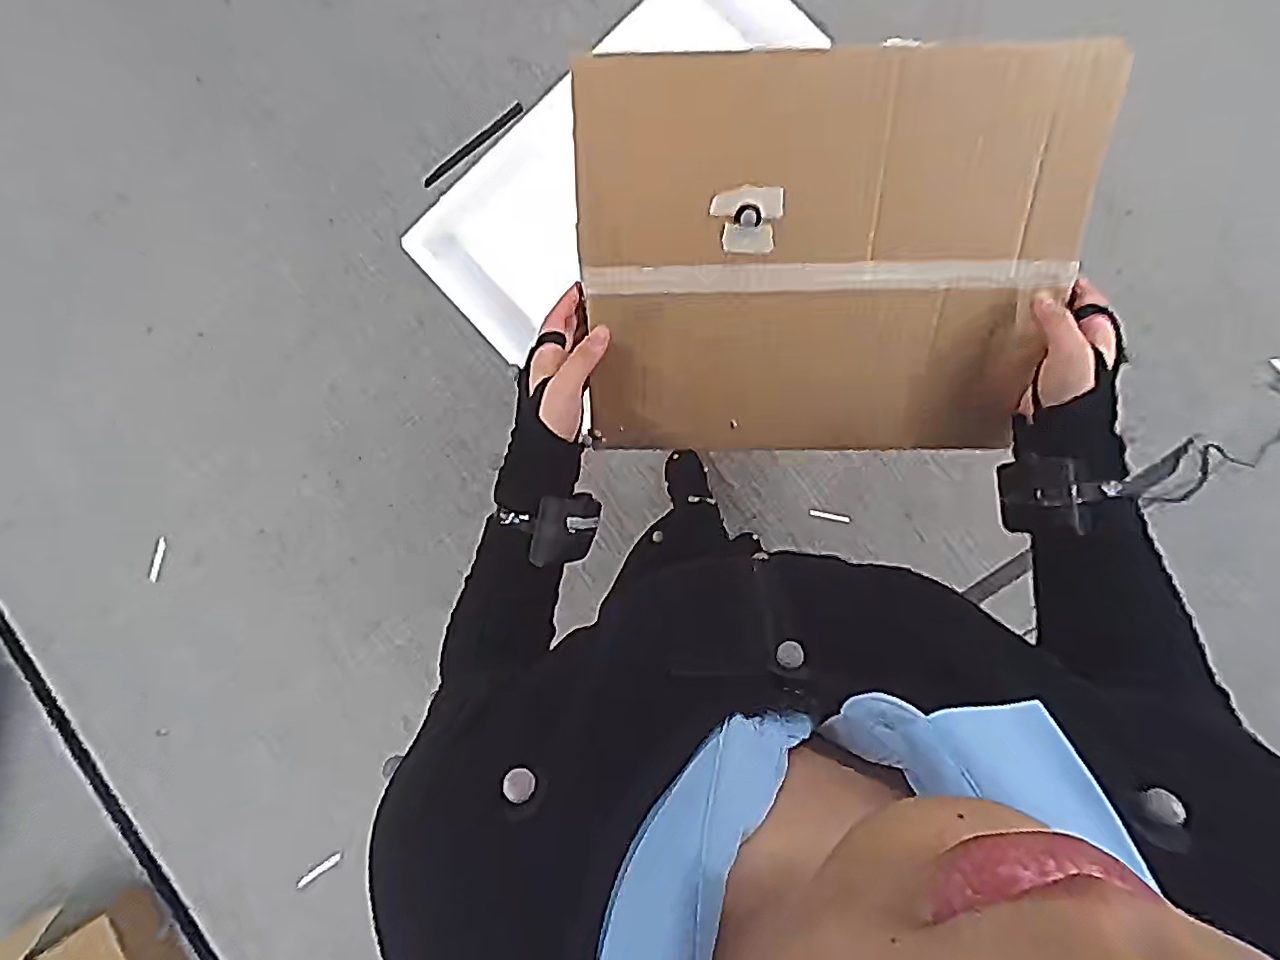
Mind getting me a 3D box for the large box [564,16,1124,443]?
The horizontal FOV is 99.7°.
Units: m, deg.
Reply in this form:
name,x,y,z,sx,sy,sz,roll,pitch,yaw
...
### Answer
name,x,y,z,sx,sy,sz,roll,pitch,yaw
large box,0.155,-0.242,0.583,0.408,0.320,0.320,-1,114,3
